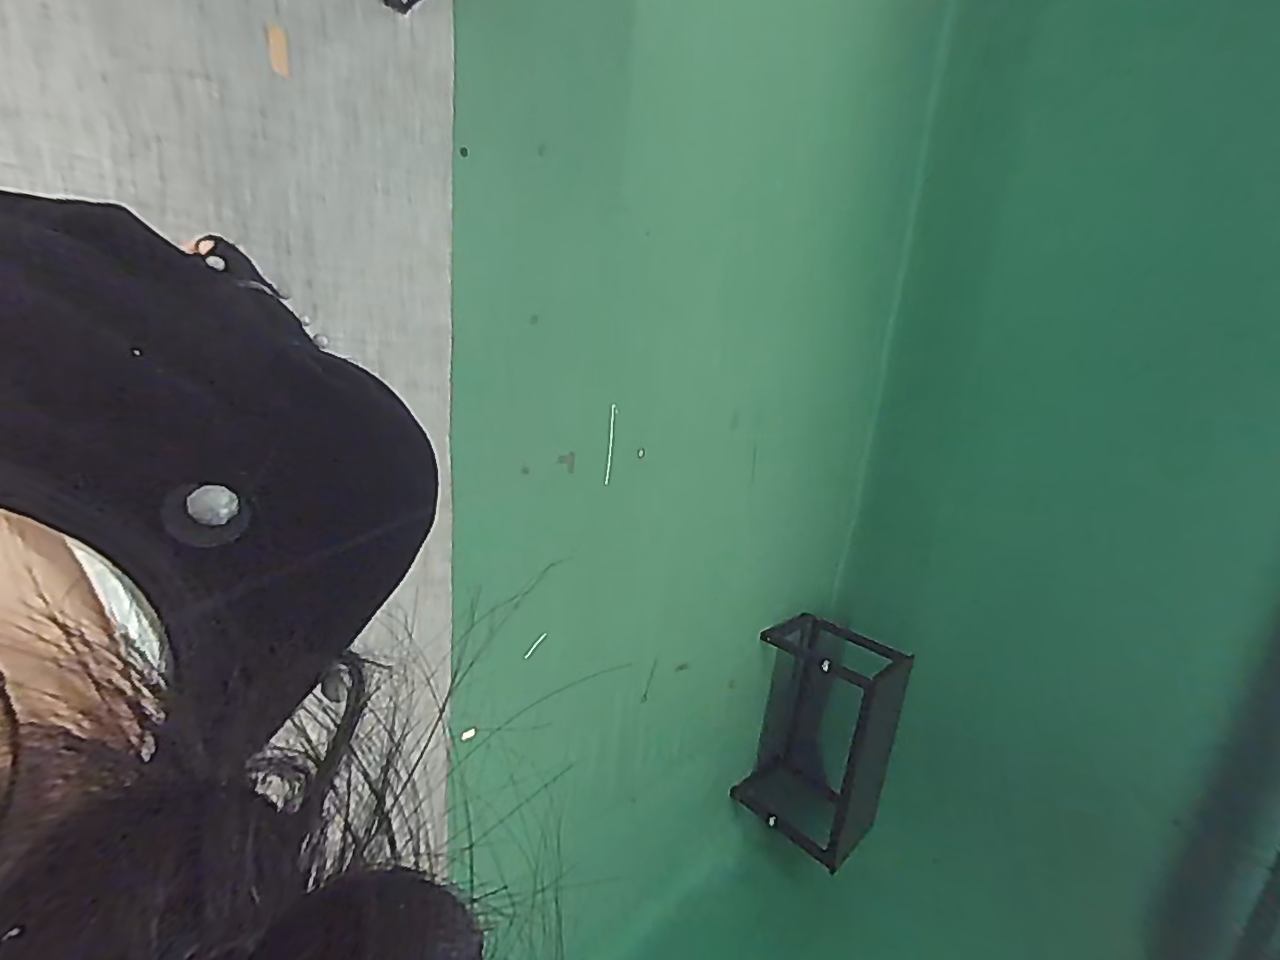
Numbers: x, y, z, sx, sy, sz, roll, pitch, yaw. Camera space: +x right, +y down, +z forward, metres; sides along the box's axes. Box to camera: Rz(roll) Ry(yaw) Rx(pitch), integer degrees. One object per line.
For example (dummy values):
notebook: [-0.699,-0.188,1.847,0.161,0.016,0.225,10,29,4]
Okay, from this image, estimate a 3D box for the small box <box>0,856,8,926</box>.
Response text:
small box: [-1.166,0.689,0.869,0.168,0.176,0.179,-14,112,-43]

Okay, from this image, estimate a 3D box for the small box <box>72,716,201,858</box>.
small box: [-1.085,0.649,1.172,0.179,0.176,0.168,-13,110,-40]
